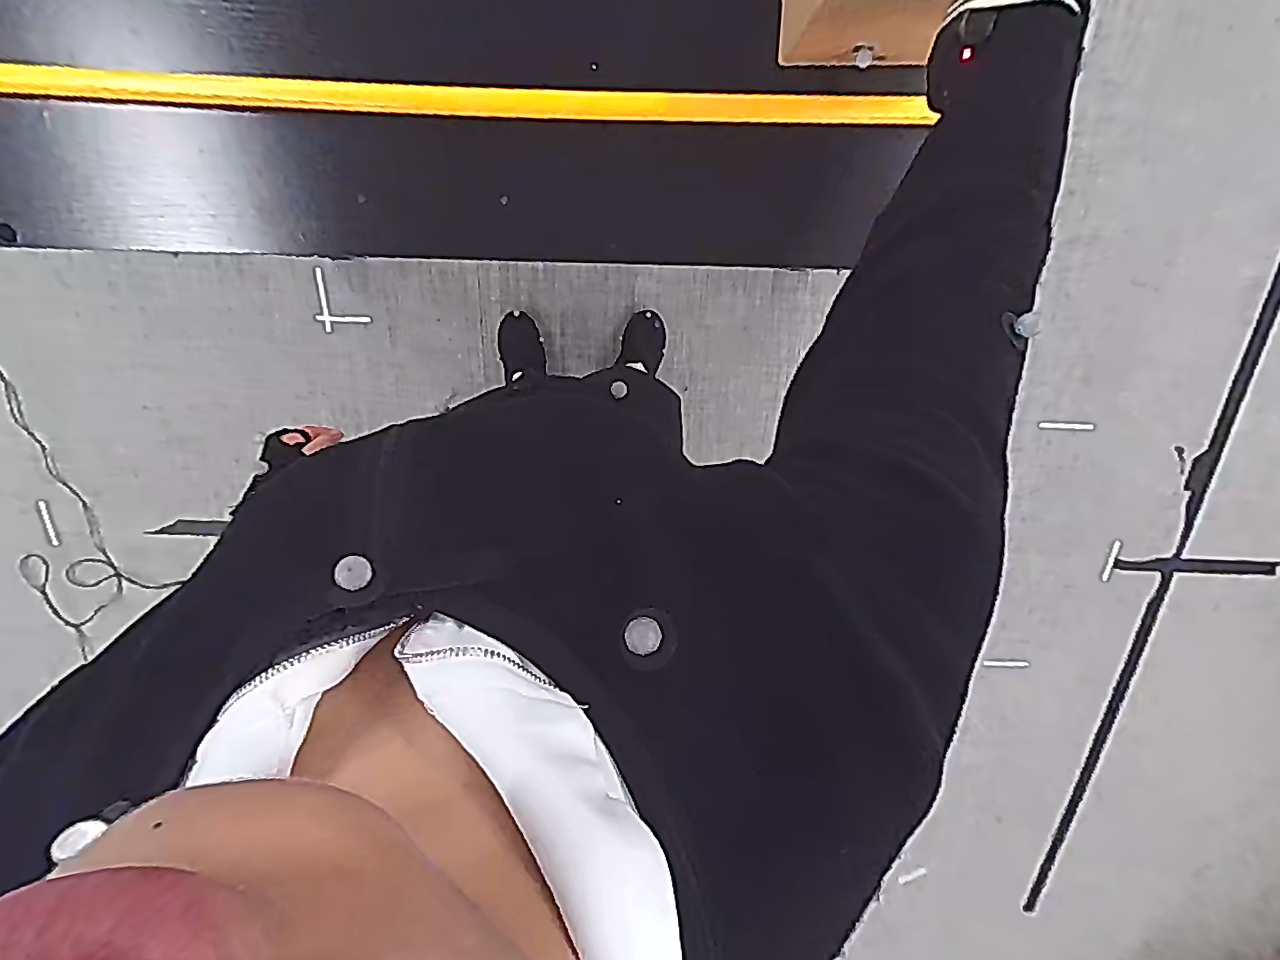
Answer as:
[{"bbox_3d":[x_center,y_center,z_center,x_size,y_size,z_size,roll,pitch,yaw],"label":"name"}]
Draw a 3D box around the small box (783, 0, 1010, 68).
[{"bbox_3d":[0.236,-0.512,0.491,0.168,0.176,0.179,0,110,-1],"label":"small box"}]
